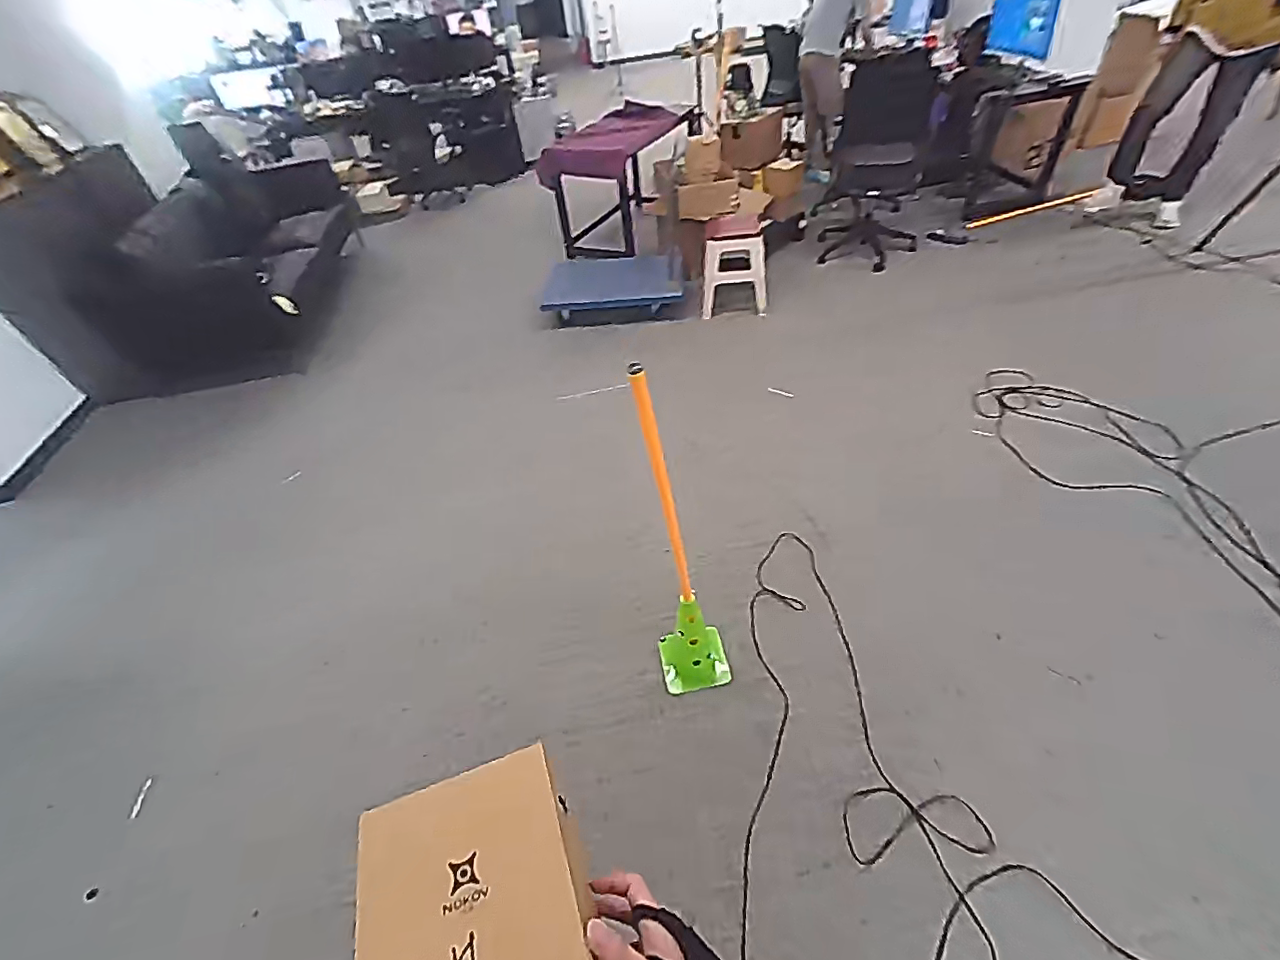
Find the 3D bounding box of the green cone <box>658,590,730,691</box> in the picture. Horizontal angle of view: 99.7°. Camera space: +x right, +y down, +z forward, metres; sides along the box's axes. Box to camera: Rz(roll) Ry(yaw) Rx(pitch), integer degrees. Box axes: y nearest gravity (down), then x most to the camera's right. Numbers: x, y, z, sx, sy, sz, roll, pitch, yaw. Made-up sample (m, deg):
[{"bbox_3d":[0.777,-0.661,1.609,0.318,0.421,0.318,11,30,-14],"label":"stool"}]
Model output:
[{"bbox_3d":[0.153,0.448,1.604,0.202,0.368,0.200,-10,45,-3],"label":"green cone"}]
